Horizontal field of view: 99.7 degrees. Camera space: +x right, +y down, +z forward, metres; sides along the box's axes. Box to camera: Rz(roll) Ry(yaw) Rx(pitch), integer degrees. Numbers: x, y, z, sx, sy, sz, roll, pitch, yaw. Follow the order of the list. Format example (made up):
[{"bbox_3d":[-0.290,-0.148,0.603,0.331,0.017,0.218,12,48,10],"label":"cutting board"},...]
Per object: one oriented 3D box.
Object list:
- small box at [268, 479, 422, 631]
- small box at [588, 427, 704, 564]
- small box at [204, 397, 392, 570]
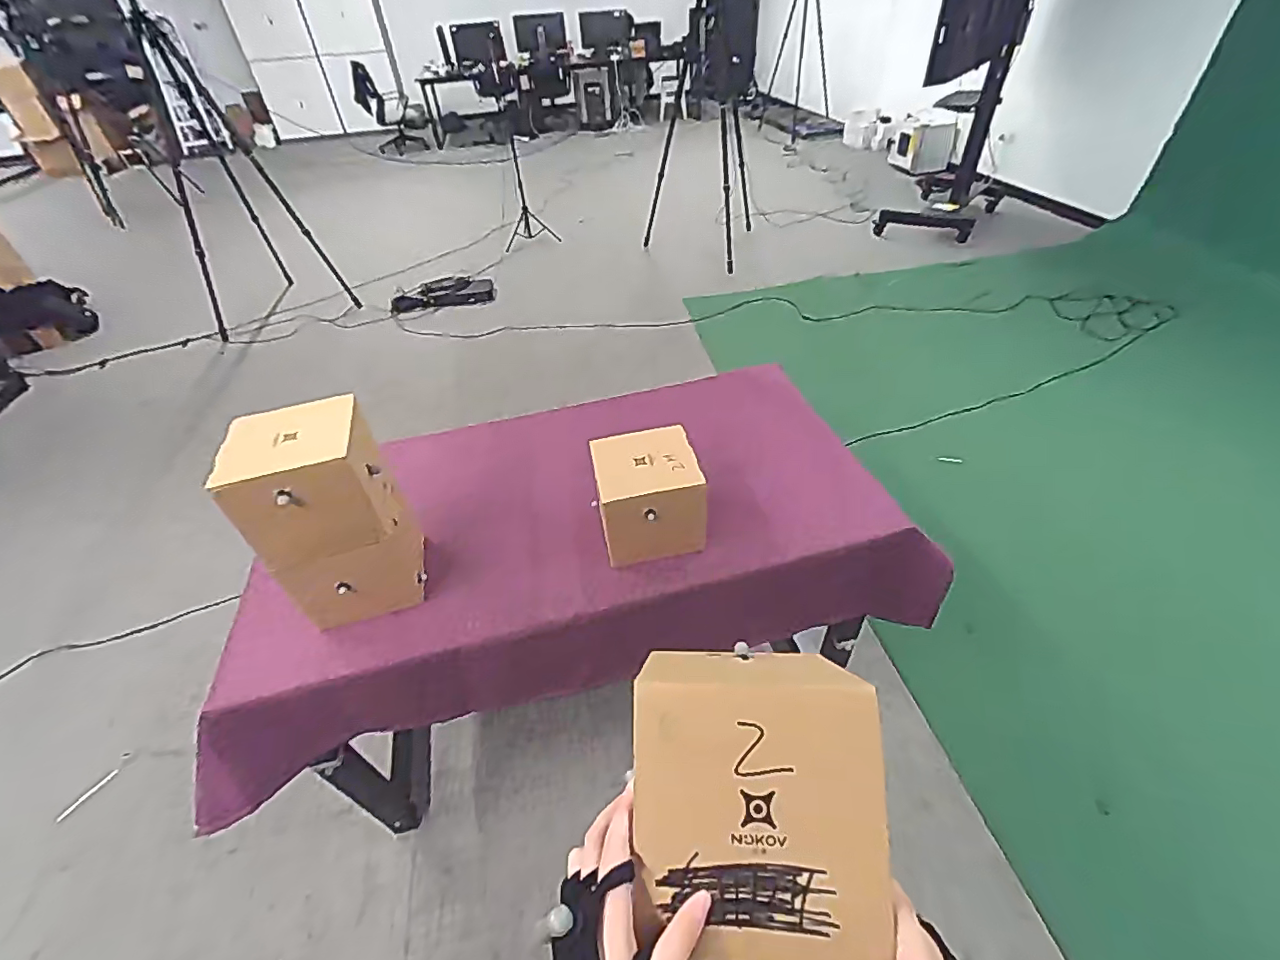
[{"bbox_3d":[-0.482,0.126,0.918,0.179,0.176,0.168,-16,43,-9],"label":"small box"},{"bbox_3d":[0.012,0.030,0.973,0.179,0.176,0.168,-10,43,-5],"label":"small box"},{"bbox_3d":[-0.489,0.006,0.809,0.179,0.176,0.168,-16,43,-10],"label":"small box"}]
